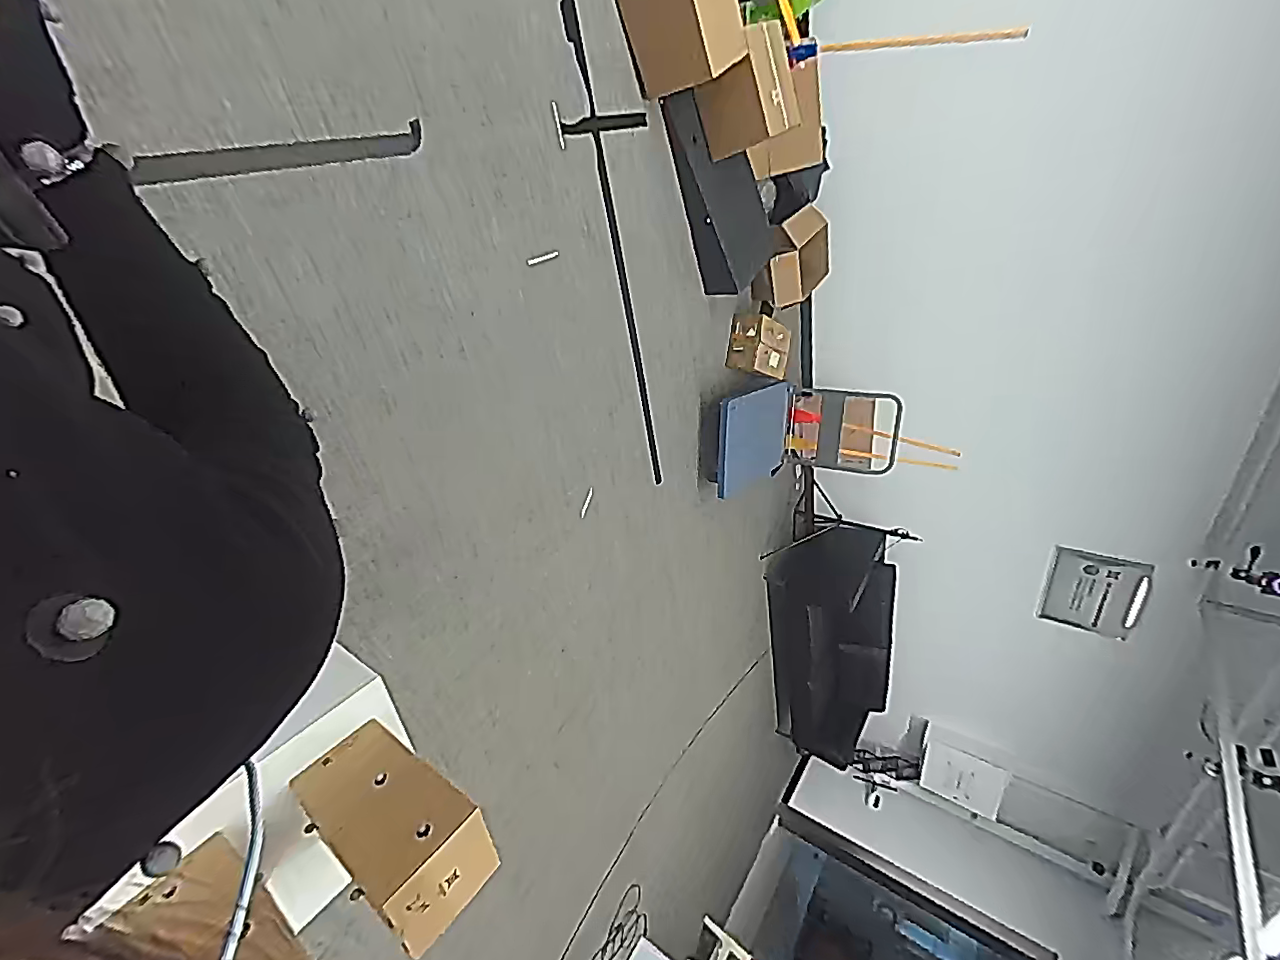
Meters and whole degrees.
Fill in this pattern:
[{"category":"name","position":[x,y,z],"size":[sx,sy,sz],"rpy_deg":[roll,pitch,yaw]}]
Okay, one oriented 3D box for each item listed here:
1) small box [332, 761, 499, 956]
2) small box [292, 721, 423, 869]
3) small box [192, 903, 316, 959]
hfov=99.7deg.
[{"category":"small box","position":[-0.372,0.619,0.909],"size":[0.179,0.176,0.168],"rpy_deg":[-35,127,-43]},{"category":"small box","position":[-0.503,0.590,1.004],"size":[0.168,0.176,0.179],"rpy_deg":[-35,129,-44]},{"category":"small box","position":[-0.528,0.728,0.730],"size":[0.168,0.176,0.179],"rpy_deg":[-37,130,-43]}]
